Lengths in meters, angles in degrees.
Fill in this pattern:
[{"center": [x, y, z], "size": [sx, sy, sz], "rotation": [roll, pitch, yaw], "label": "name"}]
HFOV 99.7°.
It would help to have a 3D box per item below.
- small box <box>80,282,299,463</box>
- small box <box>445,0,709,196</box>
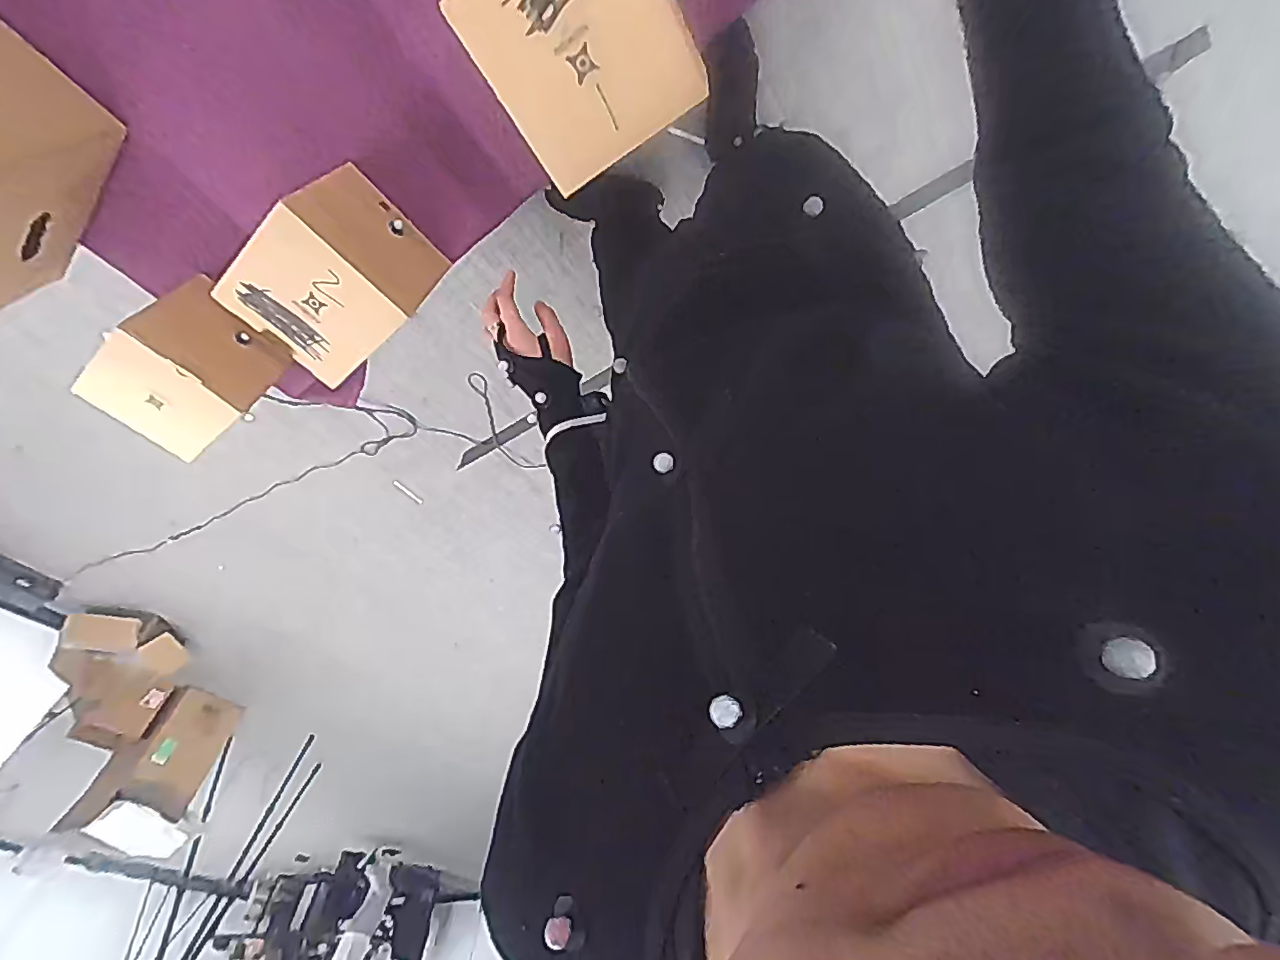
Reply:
[{"center": [-0.668, -0.163, 0.823], "size": [0.179, 0.176, 0.168], "rotation": [-27, 125, 26], "label": "small box"}, {"center": [-0.046, -0.420, 0.523], "size": [0.168, 0.176, 0.179], "rotation": [-22, 128, 25], "label": "small box"}]
